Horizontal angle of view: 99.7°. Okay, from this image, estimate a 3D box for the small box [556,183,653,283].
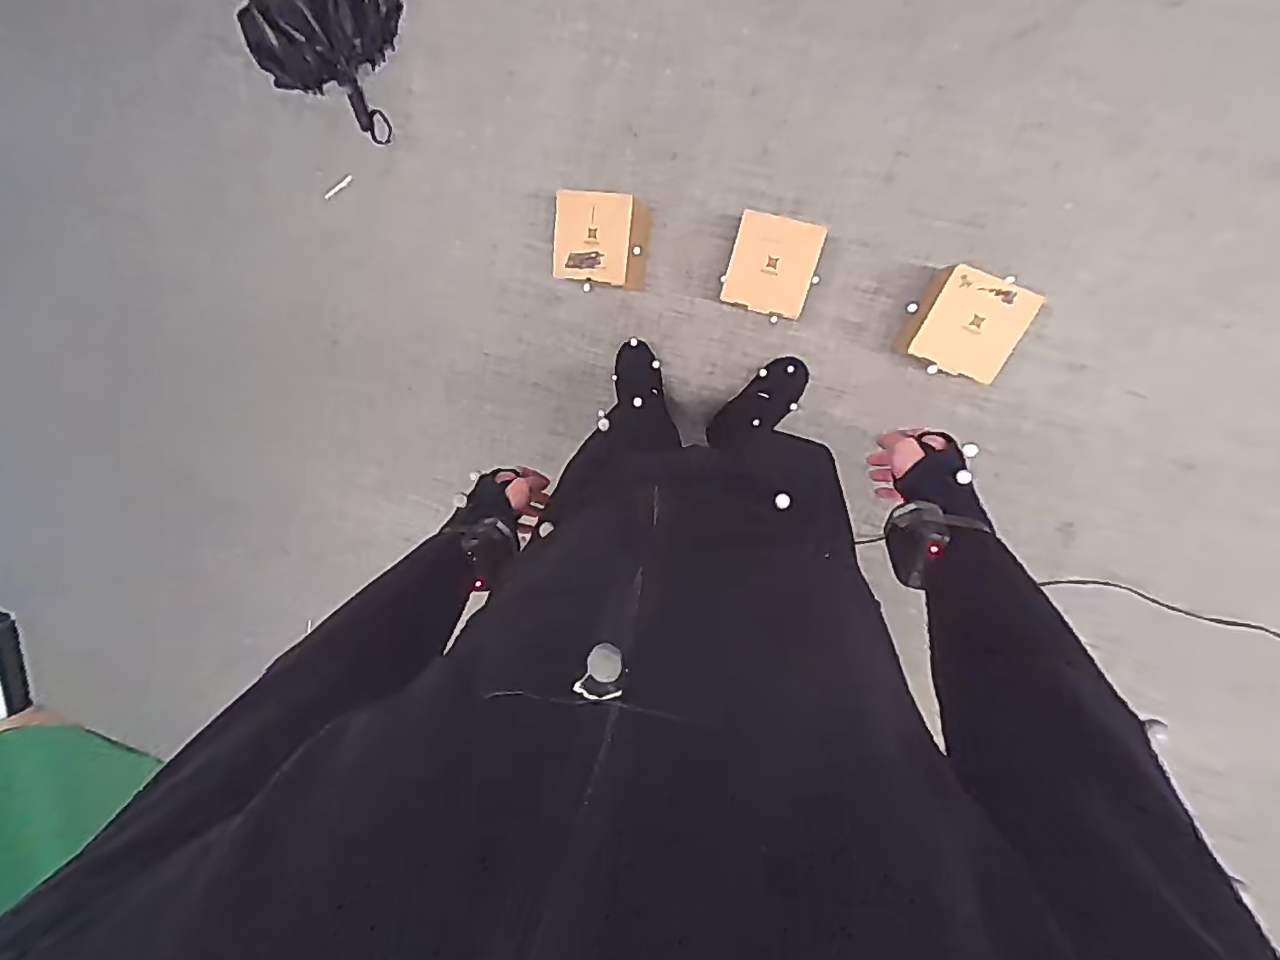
[{"bbox_3d":[-0.074,-0.536,1.194,0.168,0.176,0.179,10,108,11],"label":"small box"}]

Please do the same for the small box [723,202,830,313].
[{"bbox_3d":[0.282,-0.454,1.127,0.168,0.176,0.179,17,109,8],"label":"small box"}]

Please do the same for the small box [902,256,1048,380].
[{"bbox_3d":[0.643,-0.319,1.069,0.168,0.176,0.179,26,112,7],"label":"small box"}]
